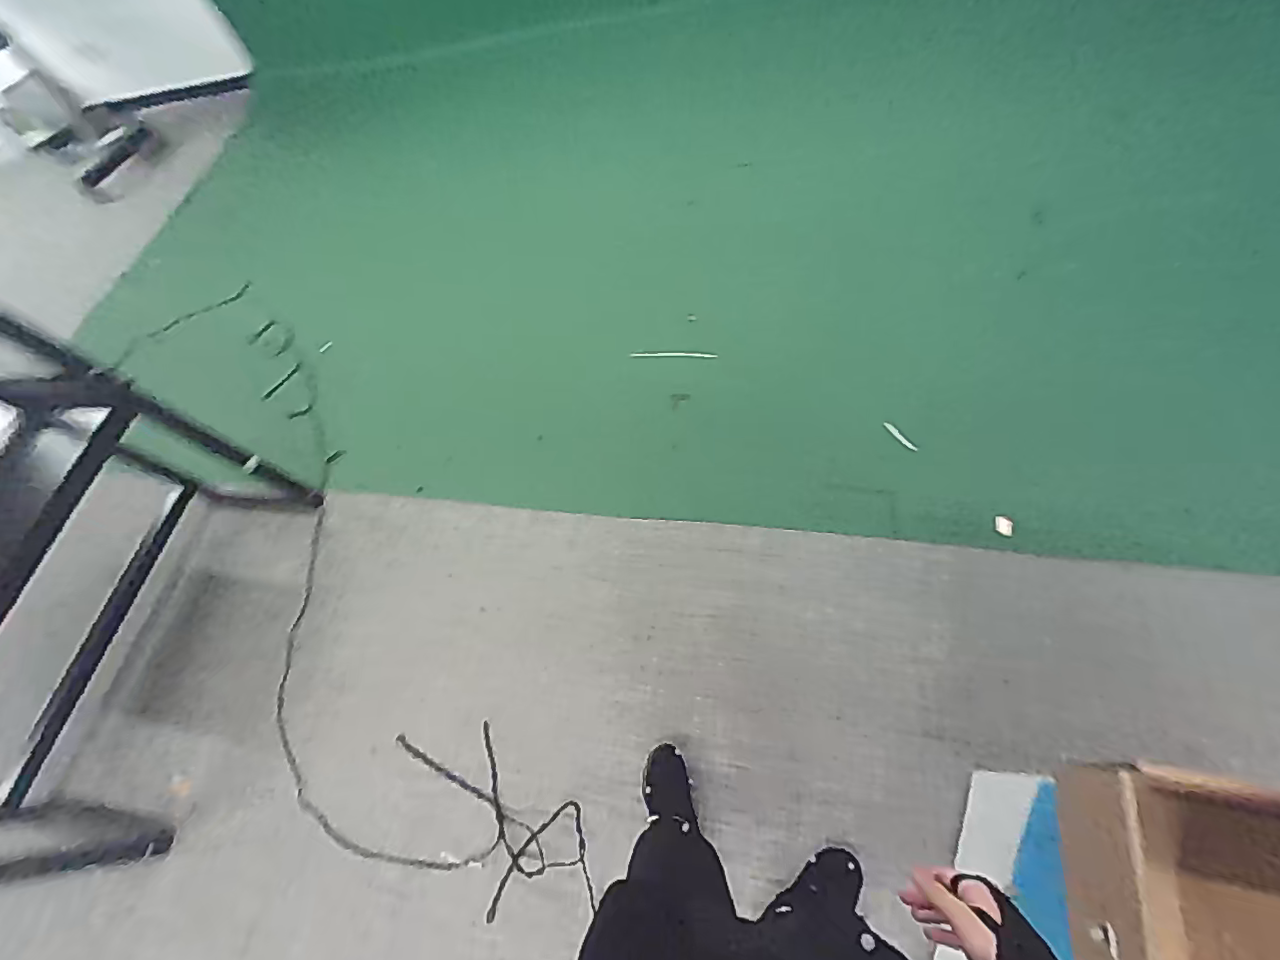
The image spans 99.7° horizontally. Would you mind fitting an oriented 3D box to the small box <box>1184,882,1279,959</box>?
[{"bbox_3d":[0.685,0.529,0.517,0.168,0.176,0.179,7,67,15],"label":"small box"}]
